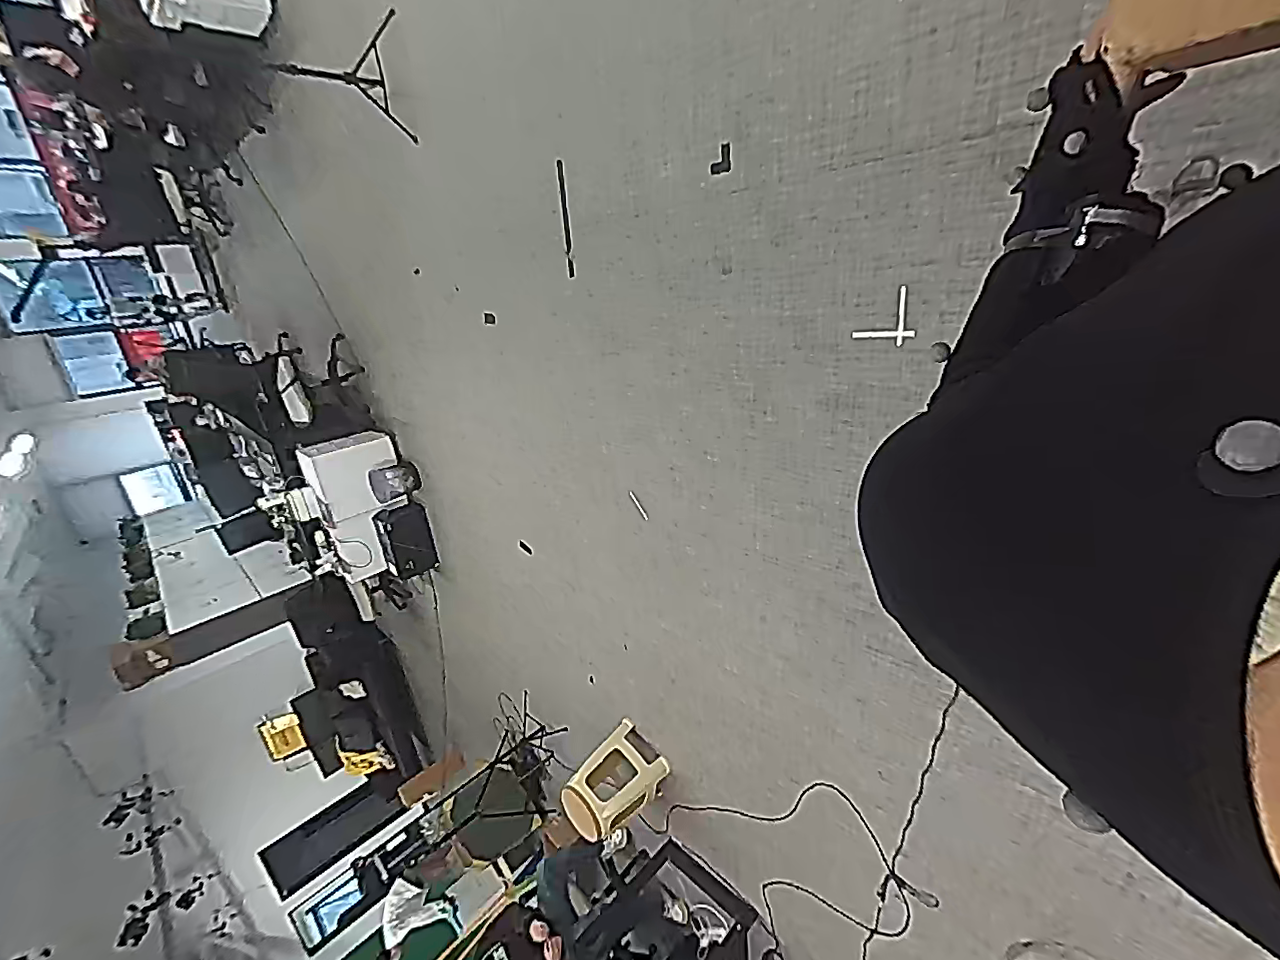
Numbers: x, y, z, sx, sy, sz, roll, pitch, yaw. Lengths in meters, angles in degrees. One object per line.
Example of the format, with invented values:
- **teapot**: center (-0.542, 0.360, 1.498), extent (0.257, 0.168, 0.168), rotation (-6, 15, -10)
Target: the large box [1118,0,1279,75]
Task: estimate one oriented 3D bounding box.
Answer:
- **large box**: center (0.412, -0.355, 0.132), extent (0.408, 0.320, 0.320), rotation (11, 125, 42)
